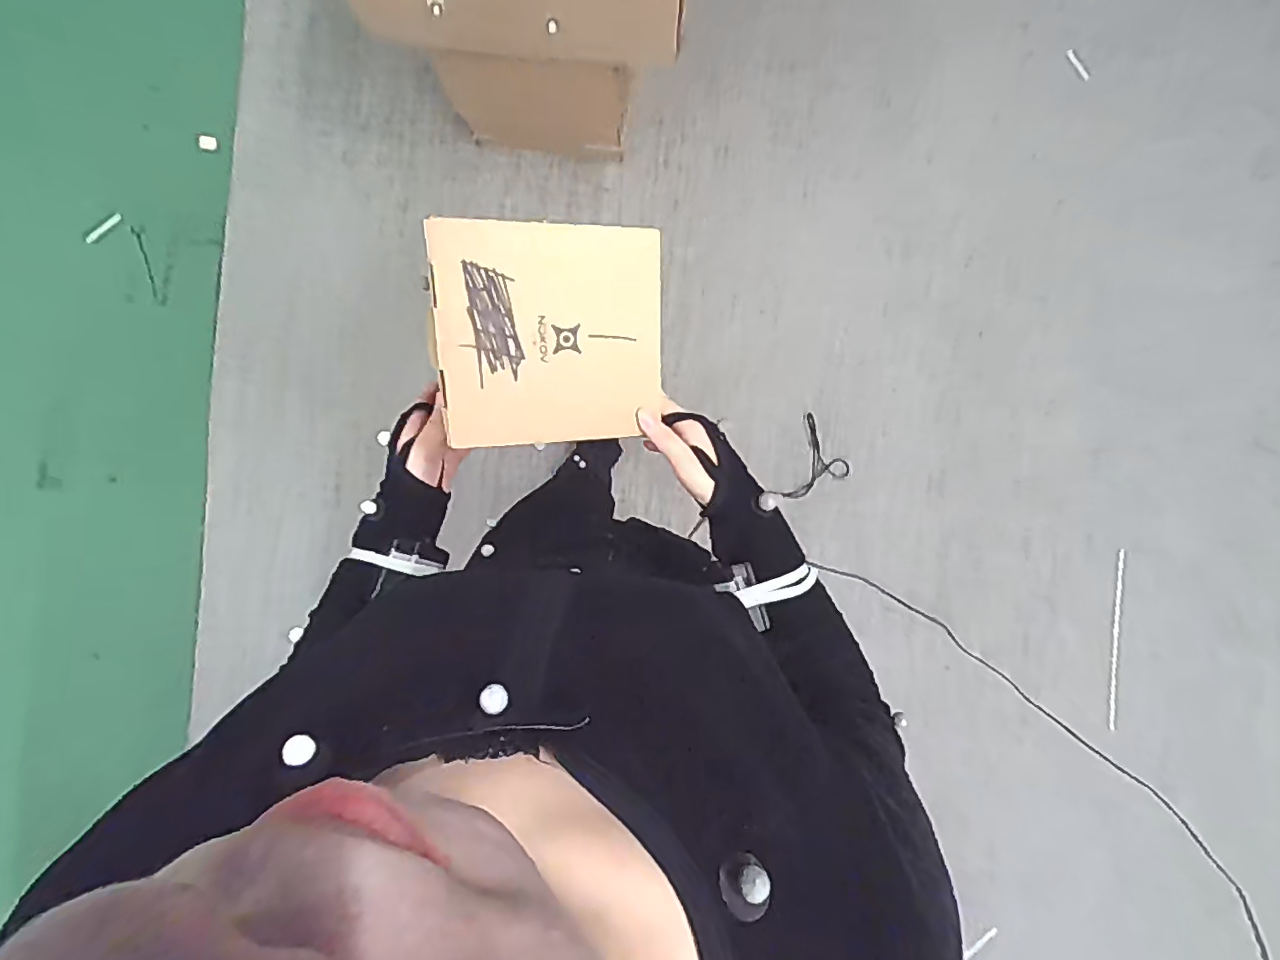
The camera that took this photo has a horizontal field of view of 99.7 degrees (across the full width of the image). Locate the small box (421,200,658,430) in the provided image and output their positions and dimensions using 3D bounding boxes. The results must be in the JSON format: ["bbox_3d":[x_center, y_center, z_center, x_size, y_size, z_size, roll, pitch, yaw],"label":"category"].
[{"bbox_3d":[-0.093,-0.140,0.492,0.179,0.176,0.168,-5,106,-18],"label":"small box"}]
